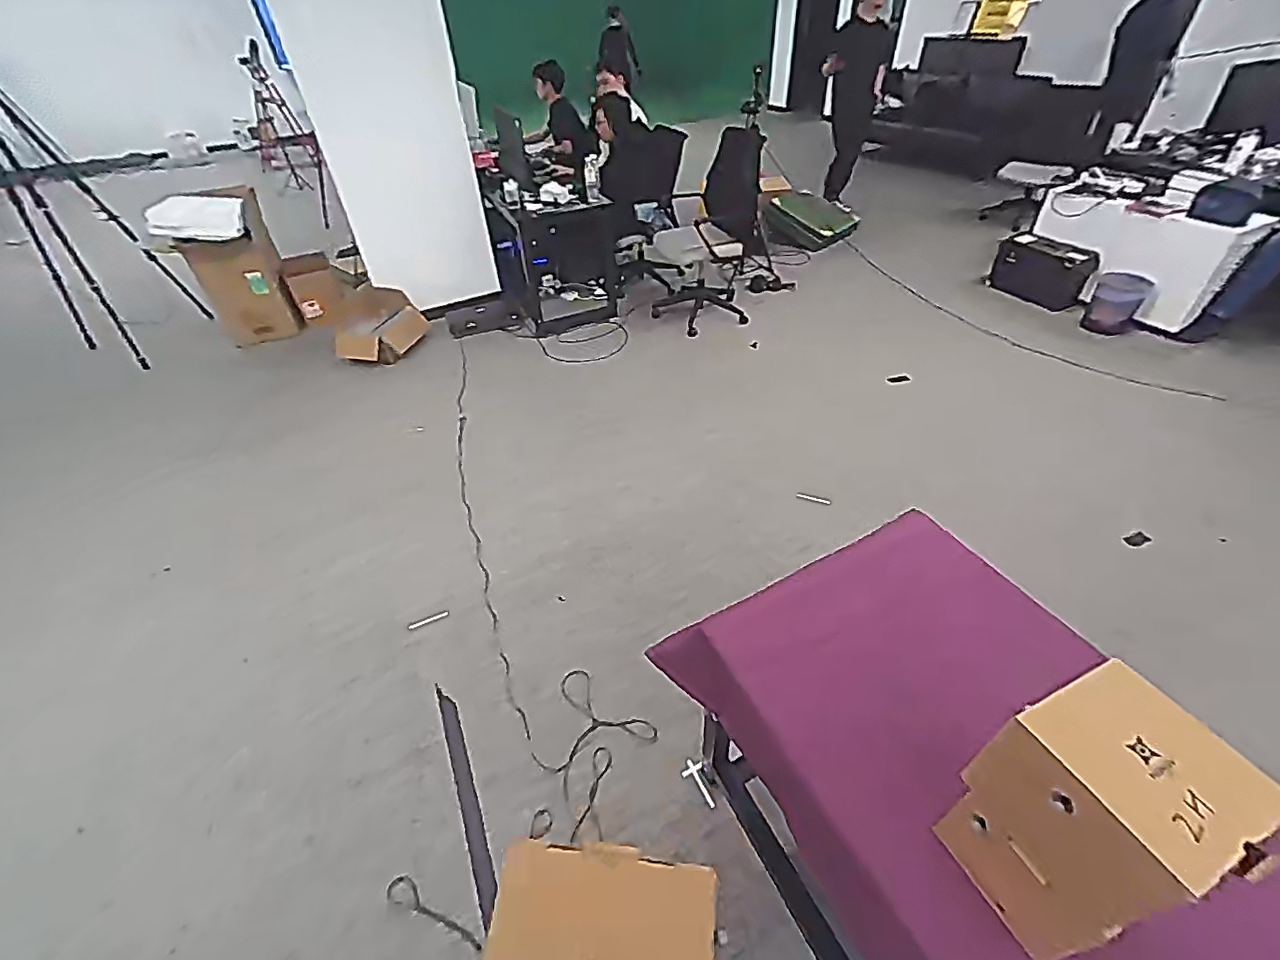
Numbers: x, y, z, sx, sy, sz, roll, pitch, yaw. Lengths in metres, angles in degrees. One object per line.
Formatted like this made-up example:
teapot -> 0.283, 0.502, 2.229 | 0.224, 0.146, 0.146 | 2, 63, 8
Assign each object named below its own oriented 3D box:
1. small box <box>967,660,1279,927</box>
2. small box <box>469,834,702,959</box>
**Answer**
small box -> 0.508, 0.340, 0.595 | 0.168, 0.176, 0.179 | -18, 44, -16
small box -> -0.042, 0.412, 0.431 | 0.168, 0.176, 0.179 | 5, 46, 4
